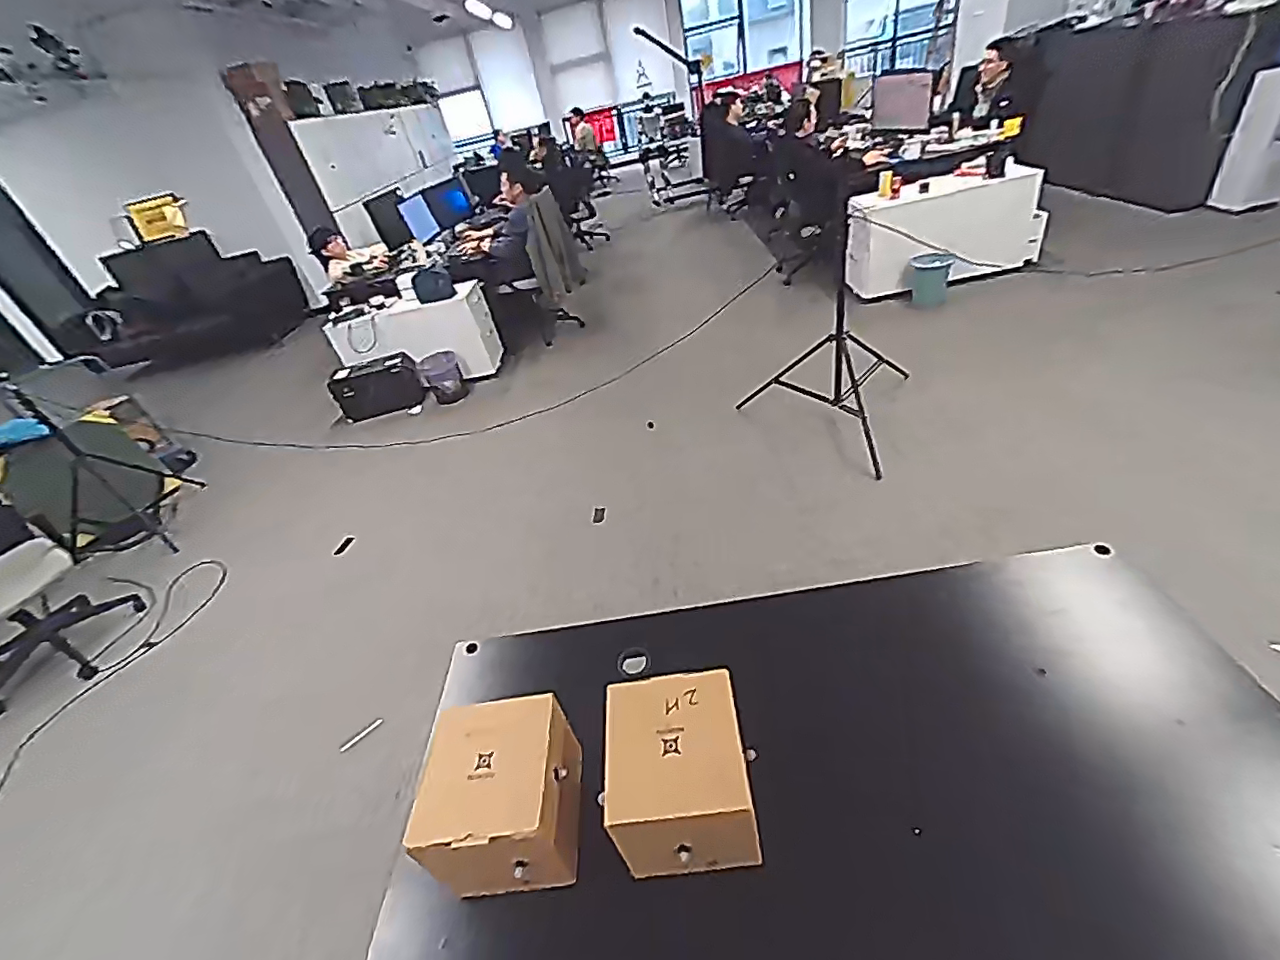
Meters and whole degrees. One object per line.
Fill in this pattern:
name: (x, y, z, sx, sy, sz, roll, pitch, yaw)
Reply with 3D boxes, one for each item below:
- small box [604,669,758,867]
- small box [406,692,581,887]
small box: (0.054, 0.378, 0.705, 0.168, 0.176, 0.179, -10, 36, 5)
small box: (-0.181, 0.421, 0.731, 0.168, 0.176, 0.179, -9, 35, 4)
